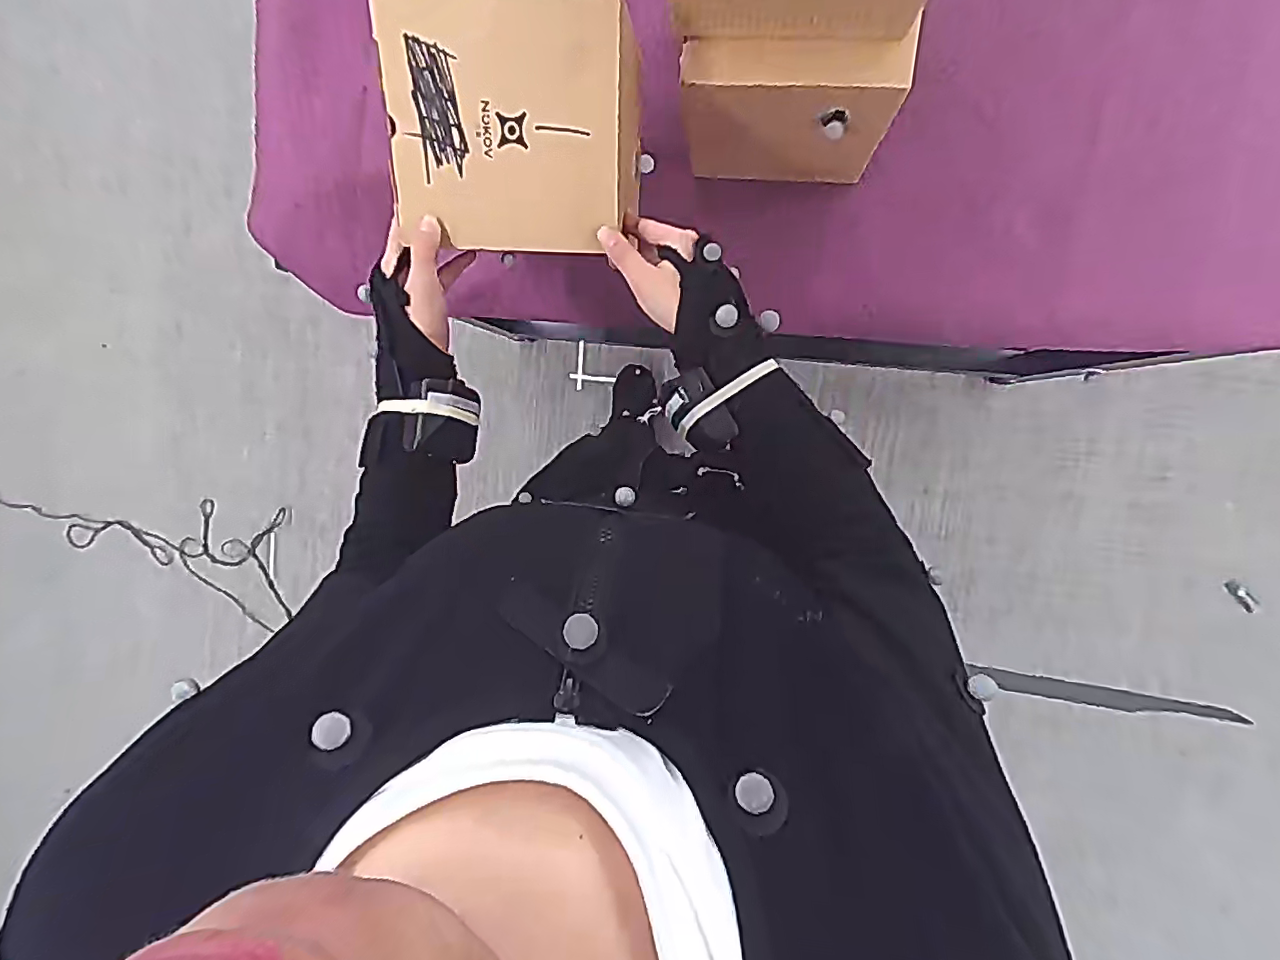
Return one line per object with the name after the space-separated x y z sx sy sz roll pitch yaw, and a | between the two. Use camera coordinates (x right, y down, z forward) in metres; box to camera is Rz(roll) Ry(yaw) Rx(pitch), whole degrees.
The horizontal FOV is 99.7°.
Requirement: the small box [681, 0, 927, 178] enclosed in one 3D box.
0.137 -0.390 0.479 0.179 0.176 0.168 7 96 8 | small box

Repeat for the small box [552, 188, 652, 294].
-0.073 -0.491 1.131 0.179 0.176 0.168 6 99 8 | small box
